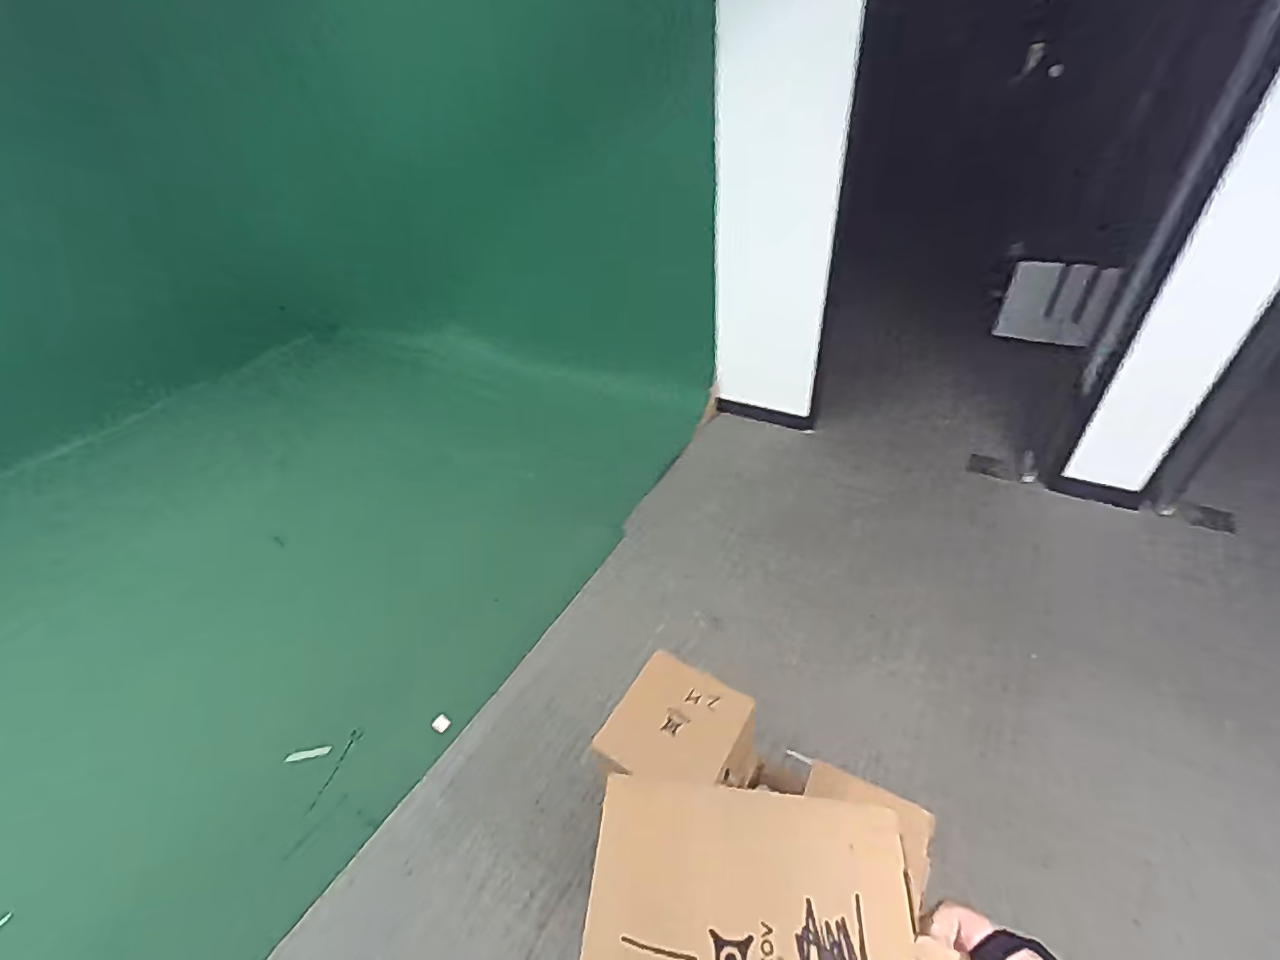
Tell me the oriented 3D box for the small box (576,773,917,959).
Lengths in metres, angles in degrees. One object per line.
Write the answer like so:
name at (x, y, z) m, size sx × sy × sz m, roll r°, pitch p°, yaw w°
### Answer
small box at (0.059, 0.304, 0.335) m, size 0.179 × 0.176 × 0.168 m, roll 2°, pitch 47°, yaw 9°

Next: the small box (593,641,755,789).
small box at (0.056, 0.384, 0.800) m, size 0.168 × 0.176 × 0.179 m, roll 23°, pitch 48°, yaw 27°

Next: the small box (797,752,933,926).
small box at (0.315, 0.559, 0.817) m, size 0.179 × 0.176 × 0.168 m, roll 17°, pitch 45°, yaw 27°
